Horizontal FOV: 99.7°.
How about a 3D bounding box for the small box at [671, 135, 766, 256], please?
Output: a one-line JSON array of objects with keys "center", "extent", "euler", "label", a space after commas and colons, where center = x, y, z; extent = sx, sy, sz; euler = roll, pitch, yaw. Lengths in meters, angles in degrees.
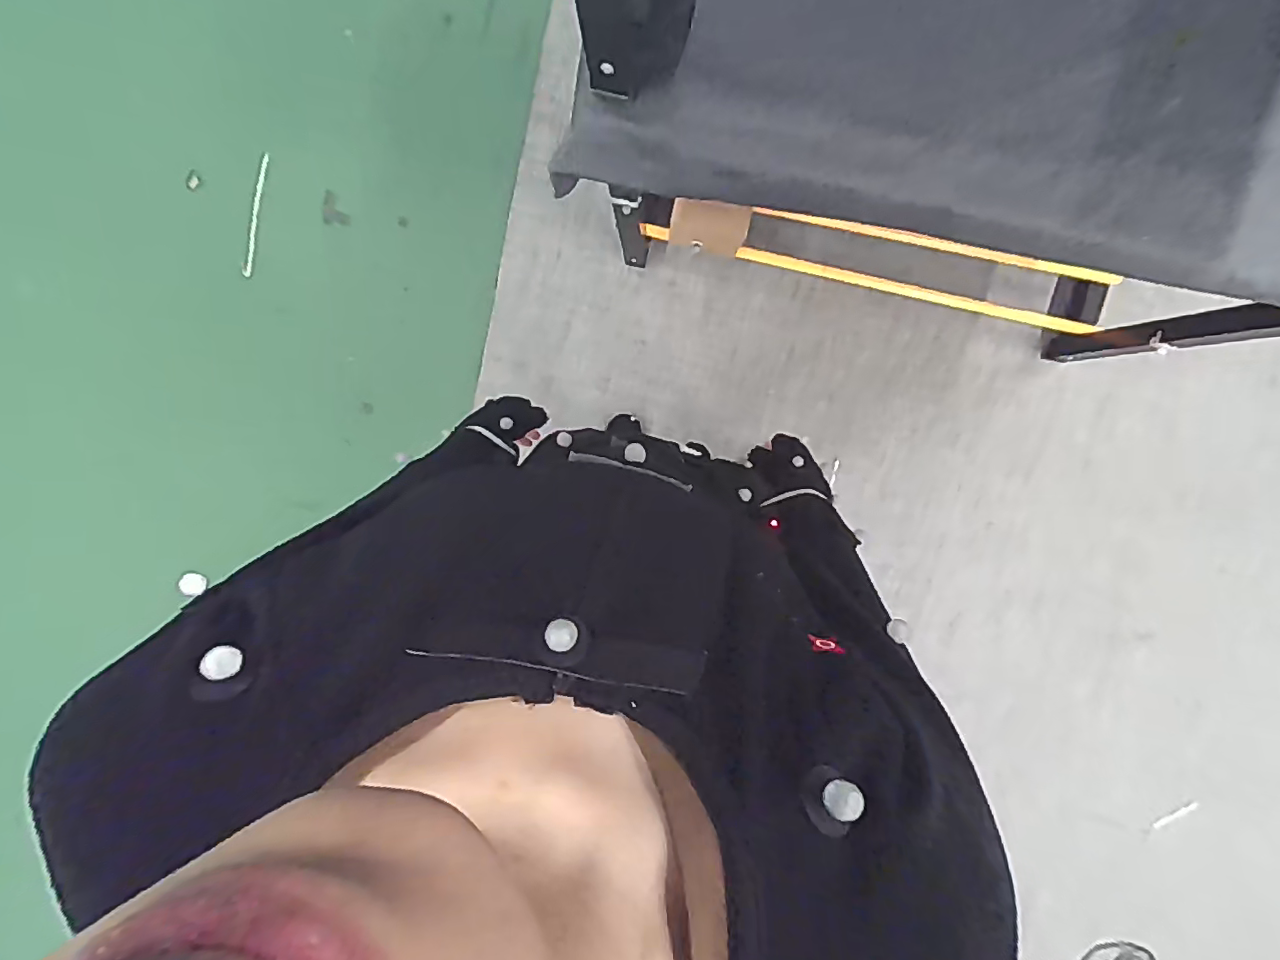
[{"center": [0.166, -0.625, 1.209], "extent": [0.168, 0.176, 0.179], "euler": [12, 99, -1], "label": "small box"}]
